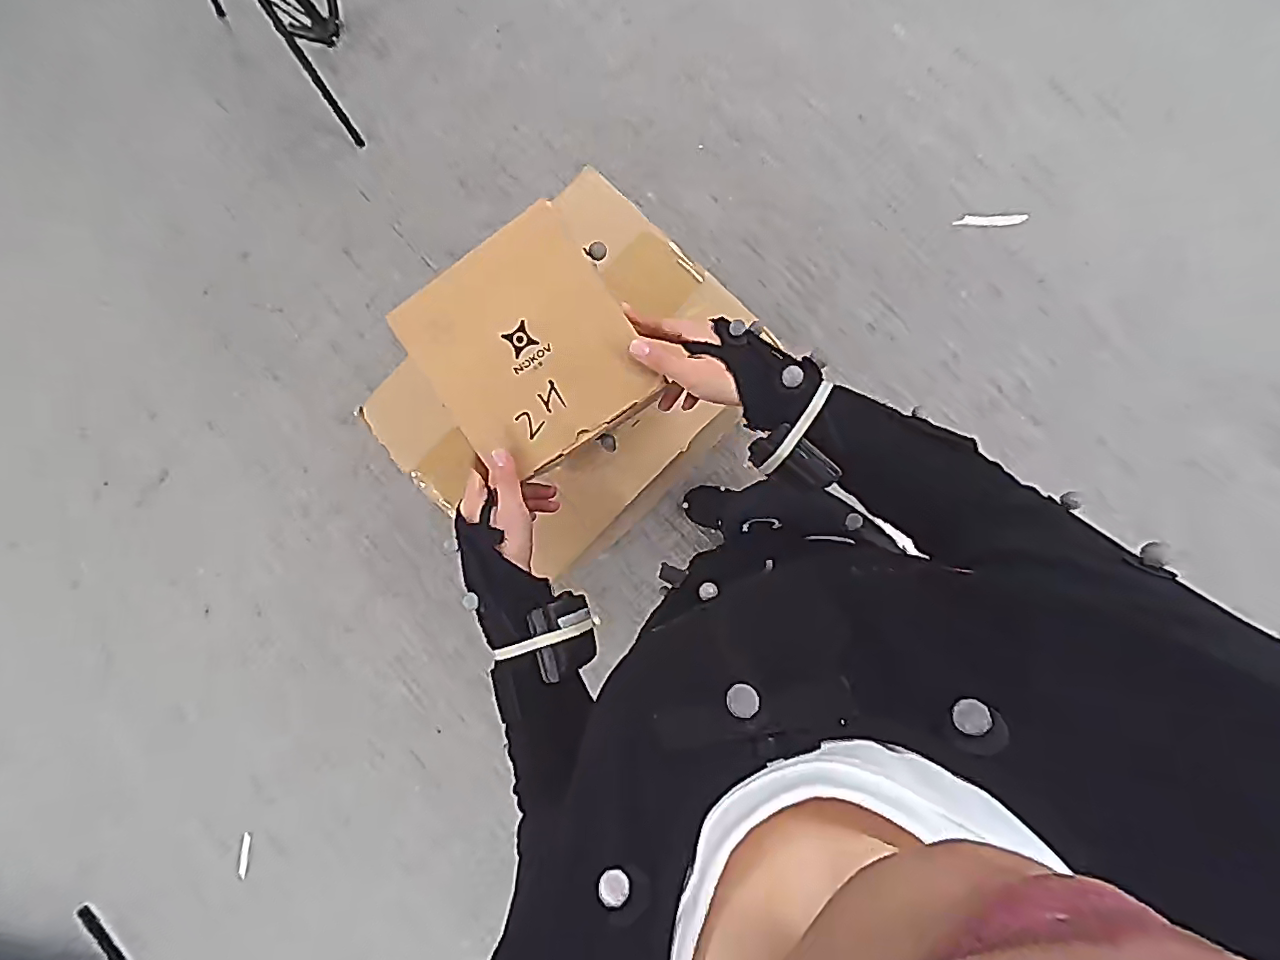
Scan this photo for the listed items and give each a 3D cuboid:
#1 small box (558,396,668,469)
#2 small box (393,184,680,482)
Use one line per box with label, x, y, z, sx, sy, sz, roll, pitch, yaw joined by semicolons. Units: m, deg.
small box;-0.077;-0.131;0.702;0.168;0.176;0.179;-43;84;5
small box;-0.077;-0.119;0.498;0.168;0.176;0.179;-32;94;8
